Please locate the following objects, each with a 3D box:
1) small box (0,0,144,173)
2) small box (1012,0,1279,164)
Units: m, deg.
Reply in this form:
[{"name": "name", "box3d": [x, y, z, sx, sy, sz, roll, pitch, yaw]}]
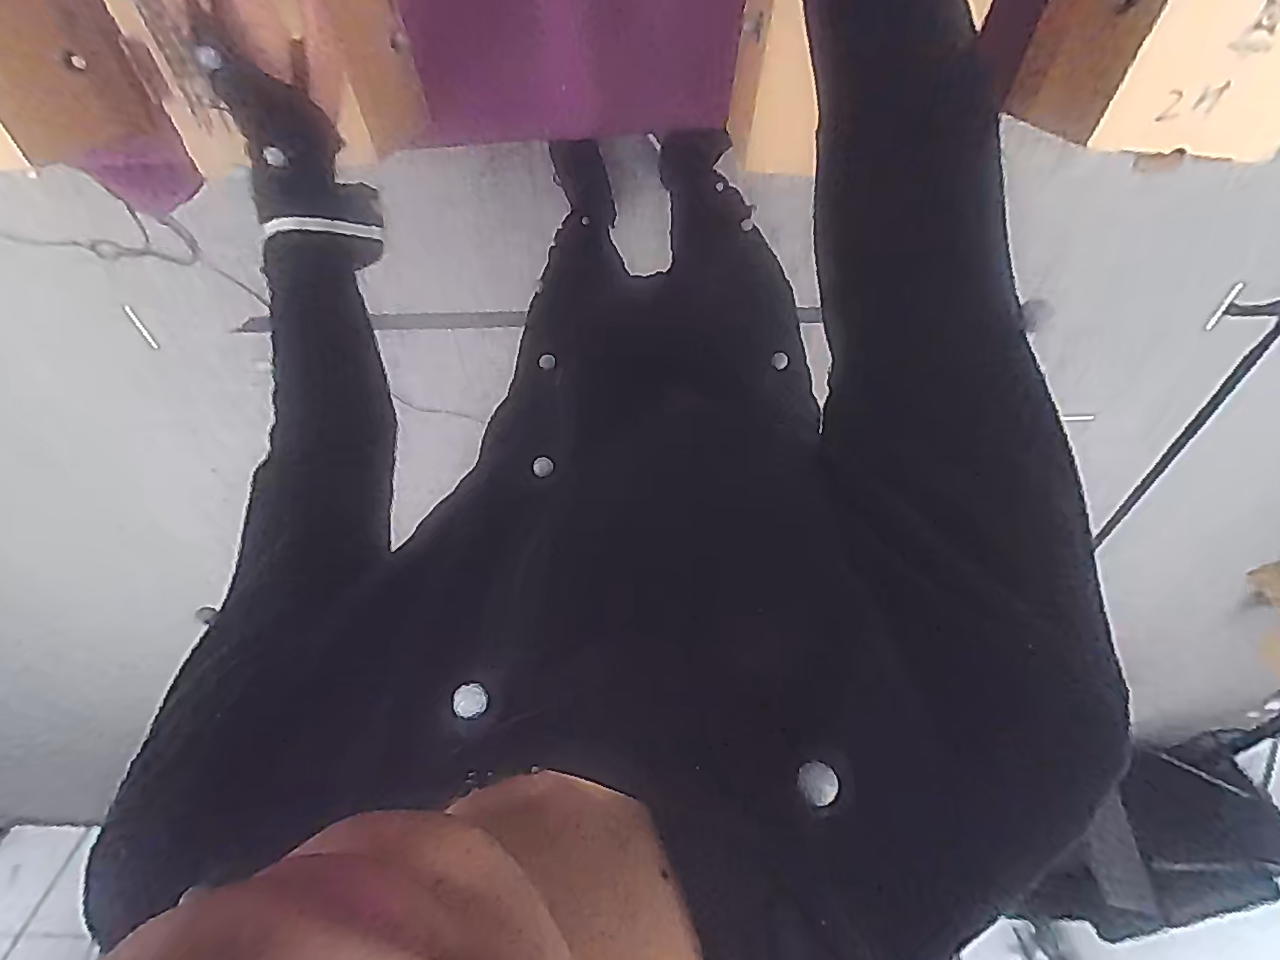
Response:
[{"name": "small box", "box3d": [-0.653, -0.405, 0.515, 0.179, 0.176, 0.168, -1, 134, 2]}, {"name": "small box", "box3d": [0.472, -0.399, 0.469, 0.168, 0.176, 0.179, 4, 134, -1]}]
